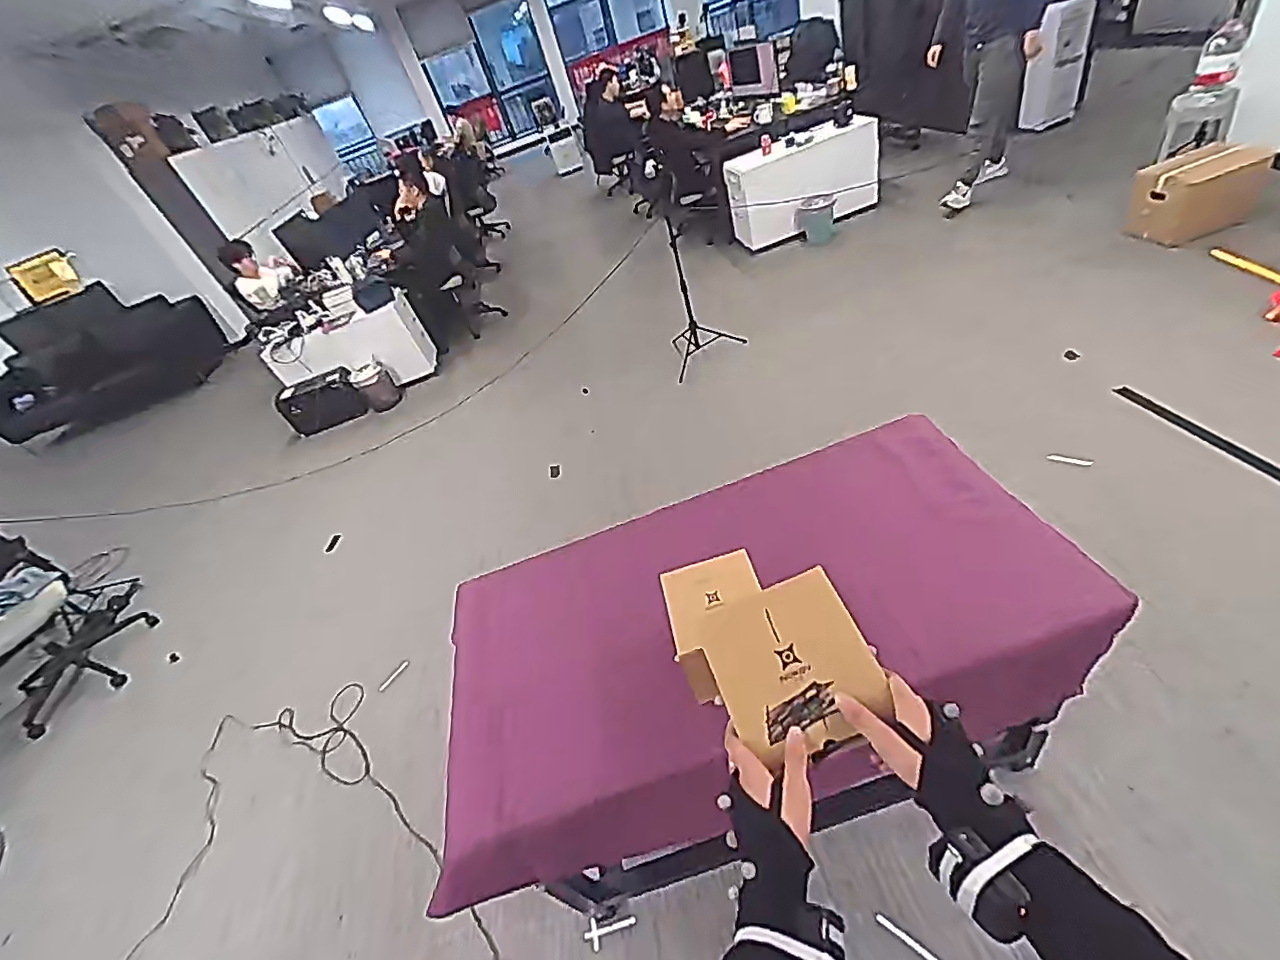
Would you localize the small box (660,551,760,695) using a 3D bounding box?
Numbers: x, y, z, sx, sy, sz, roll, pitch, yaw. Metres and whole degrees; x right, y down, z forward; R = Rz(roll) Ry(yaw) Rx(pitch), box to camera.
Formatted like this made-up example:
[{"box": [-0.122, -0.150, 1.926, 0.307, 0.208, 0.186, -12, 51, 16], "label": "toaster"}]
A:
[{"box": [0.148, 0.264, 0.972, 0.168, 0.176, 0.179, -18, 39, 4], "label": "small box"}]

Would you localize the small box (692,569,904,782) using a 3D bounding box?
[{"box": [0.182, 0.238, 0.644, 0.168, 0.176, 0.179, -24, 55, 2], "label": "small box"}]
